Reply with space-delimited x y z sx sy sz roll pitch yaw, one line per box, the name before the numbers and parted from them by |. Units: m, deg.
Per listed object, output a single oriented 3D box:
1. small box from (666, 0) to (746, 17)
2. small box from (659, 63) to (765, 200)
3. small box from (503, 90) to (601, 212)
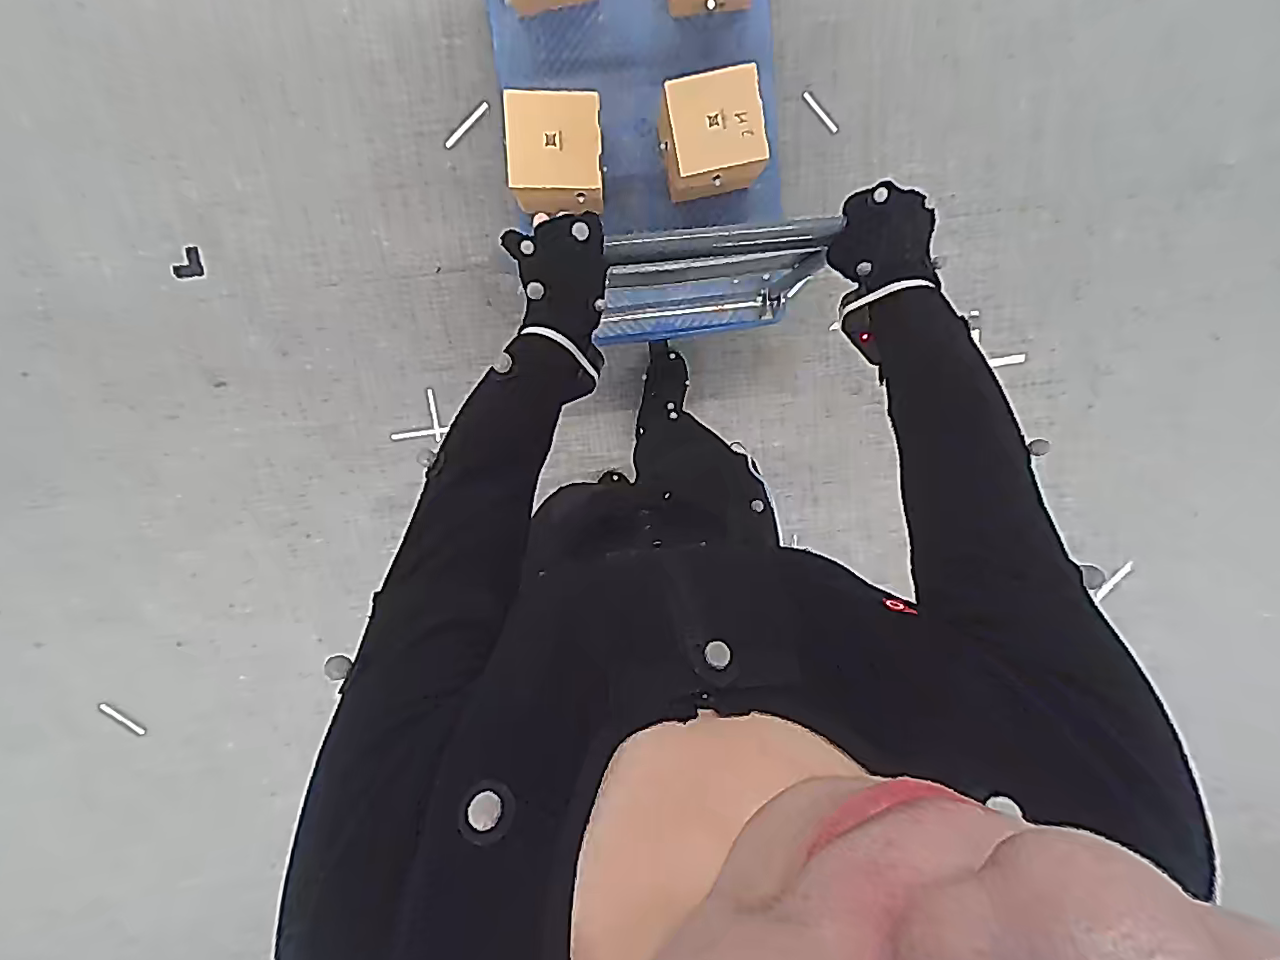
small box | 0.130 -1.030 1.019 0.168 0.176 0.179 -8 103 -2
small box | 0.136 -0.688 1.089 0.179 0.176 0.168 -12 102 0
small box | -0.168 -0.647 1.083 0.179 0.176 0.168 -2 101 -4
